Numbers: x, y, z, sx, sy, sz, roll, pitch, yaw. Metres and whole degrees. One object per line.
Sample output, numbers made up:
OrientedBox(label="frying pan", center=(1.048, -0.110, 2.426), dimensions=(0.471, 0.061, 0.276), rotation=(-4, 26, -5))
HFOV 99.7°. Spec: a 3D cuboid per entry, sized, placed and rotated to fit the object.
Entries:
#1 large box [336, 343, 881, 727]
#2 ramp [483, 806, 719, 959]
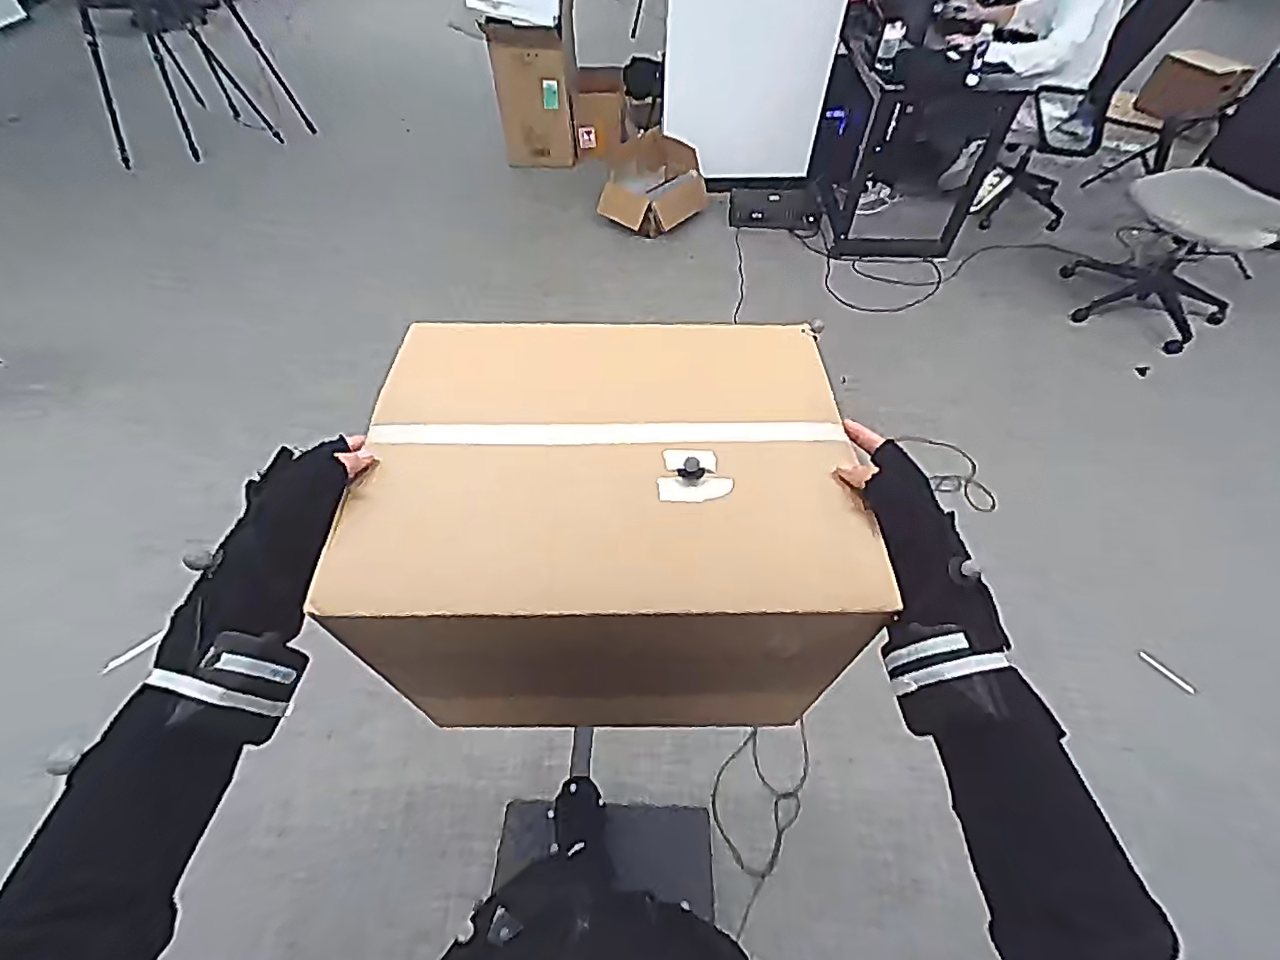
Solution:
OrientedBox(label="large box", center=(-0.028, 0.067, 0.596), dimensions=(0.408, 0.320, 0.320), rotation=(0, 53, -1))
OrientedBox(label="ramp", center=(-0.089, 1.143, 0.957), dimensions=(0.509, 0.206, 0.991), rotation=(-1, 53, 1))
